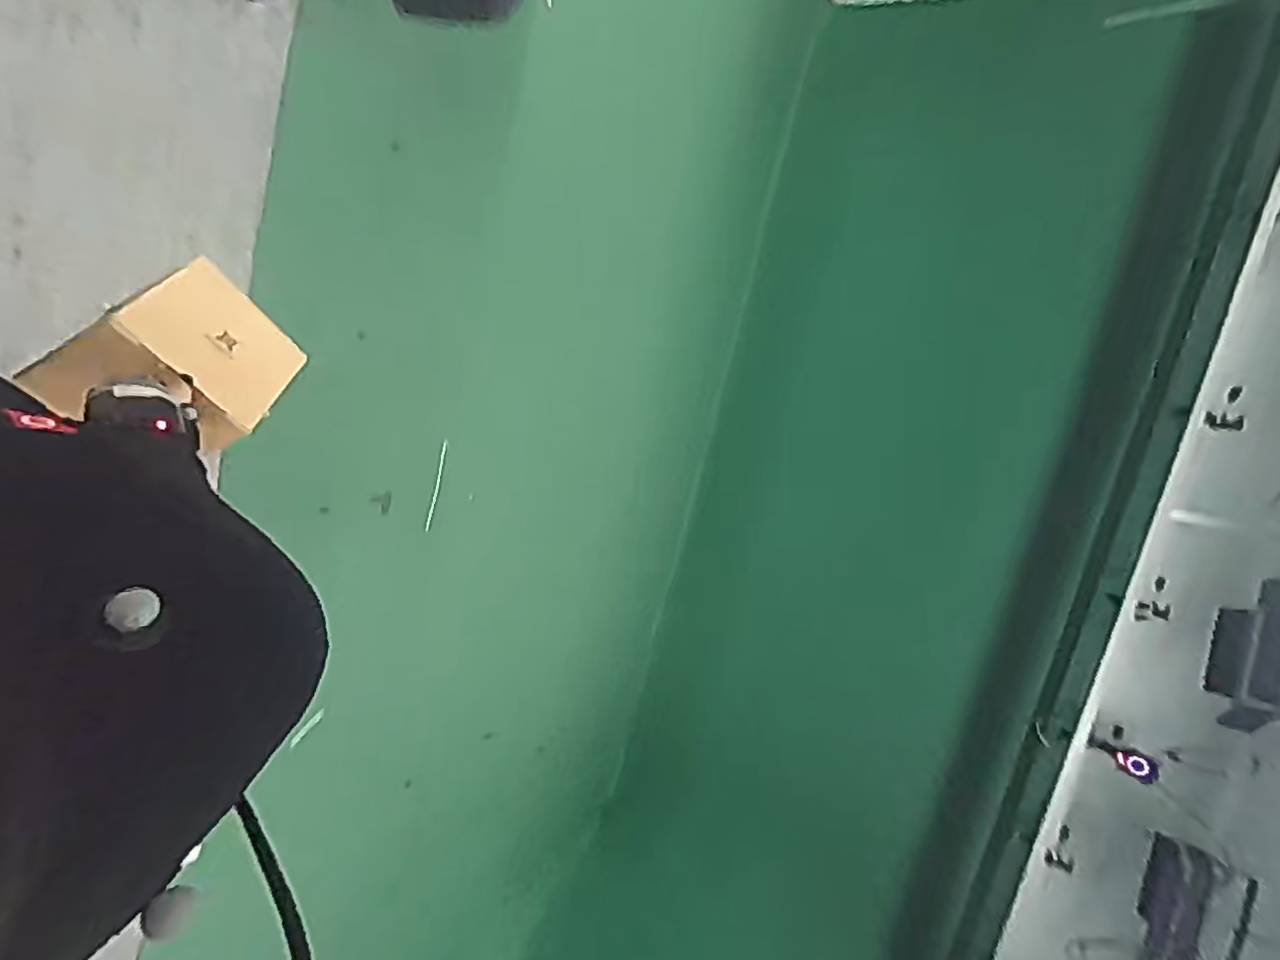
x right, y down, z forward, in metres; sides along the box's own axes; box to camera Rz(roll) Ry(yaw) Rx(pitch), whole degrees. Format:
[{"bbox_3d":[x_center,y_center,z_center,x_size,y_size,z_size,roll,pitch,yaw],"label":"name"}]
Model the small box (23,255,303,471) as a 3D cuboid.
[{"bbox_3d":[-0.578,-0.142,0.673,0.179,0.176,0.168,-96,160,-46],"label":"small box"}]
